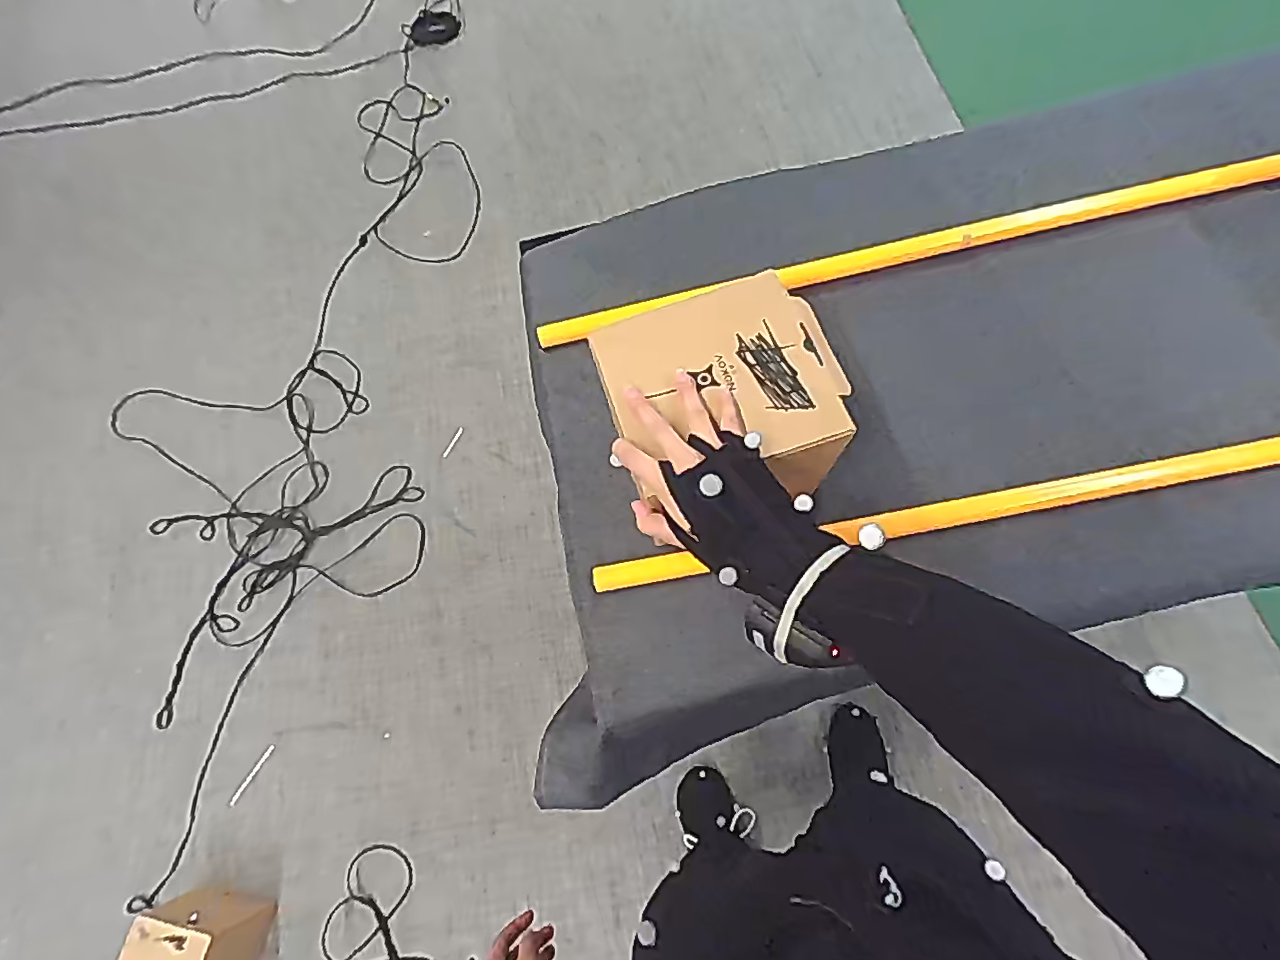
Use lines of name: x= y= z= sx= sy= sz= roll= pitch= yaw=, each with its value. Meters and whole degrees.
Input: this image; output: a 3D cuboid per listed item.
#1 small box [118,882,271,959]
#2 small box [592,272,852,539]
small box: x=-0.866 y=0.925 z=1.044 sx=0.168 sy=0.176 sz=0.179 roll=8 pitch=71 yaw=9
small box: x=0.069 y=-0.059 z=0.521 sx=0.179 sy=0.176 sz=0.168 roll=-19 pitch=69 yaw=-1
